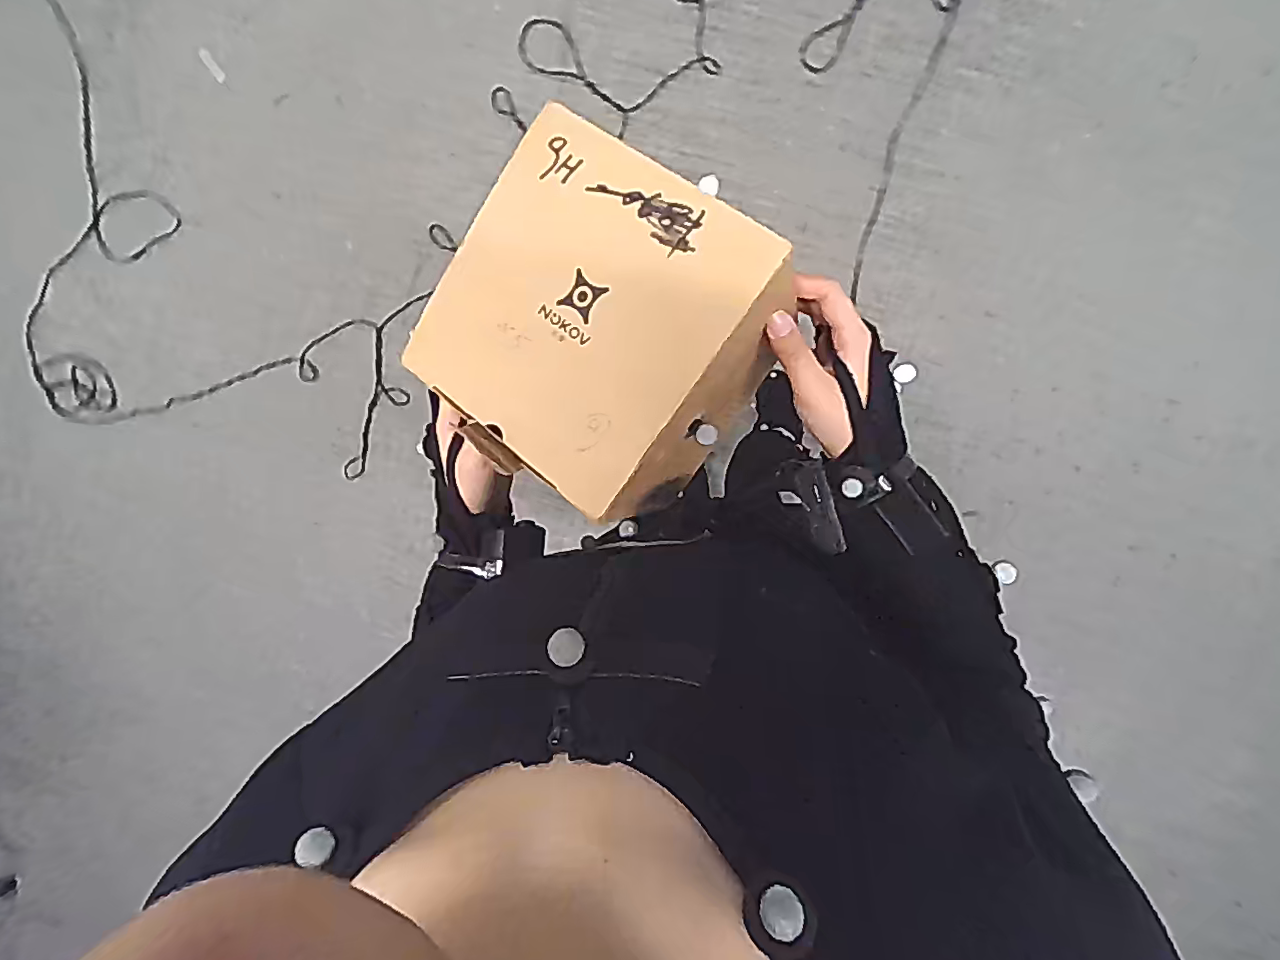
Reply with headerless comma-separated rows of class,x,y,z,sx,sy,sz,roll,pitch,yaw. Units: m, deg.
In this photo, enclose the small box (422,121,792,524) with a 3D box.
small box,-0.006,-0.091,0.384,0.168,0.176,0.179,39,102,13
